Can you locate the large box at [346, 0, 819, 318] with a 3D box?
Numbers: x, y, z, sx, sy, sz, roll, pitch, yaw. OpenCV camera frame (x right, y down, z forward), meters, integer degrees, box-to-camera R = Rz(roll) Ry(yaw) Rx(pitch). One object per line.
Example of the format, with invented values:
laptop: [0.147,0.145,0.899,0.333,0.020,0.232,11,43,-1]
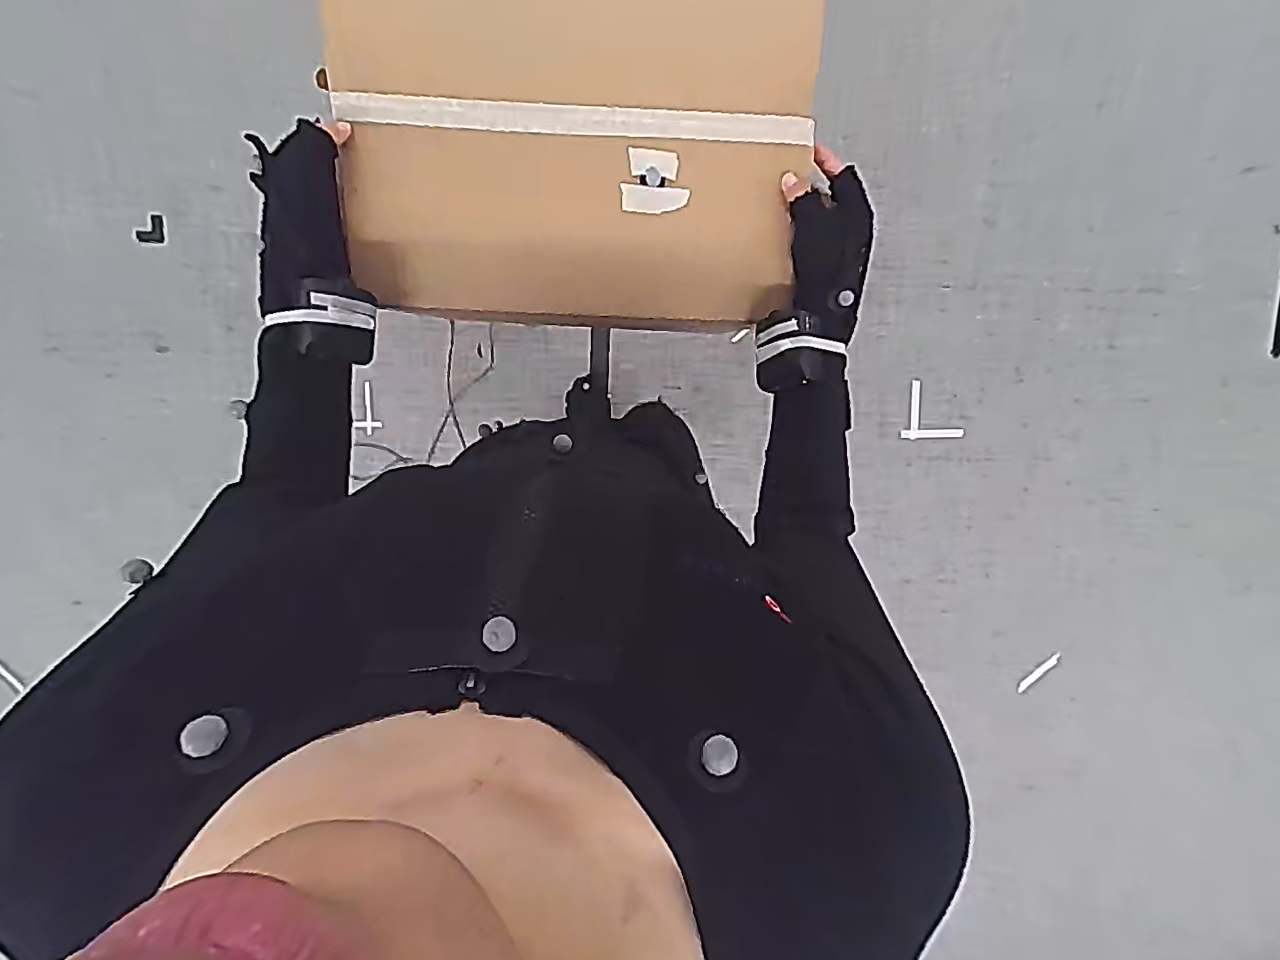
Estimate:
large box: [-0.056,-0.356,0.618,0.408,0.320,0.320,2,105,-3]
